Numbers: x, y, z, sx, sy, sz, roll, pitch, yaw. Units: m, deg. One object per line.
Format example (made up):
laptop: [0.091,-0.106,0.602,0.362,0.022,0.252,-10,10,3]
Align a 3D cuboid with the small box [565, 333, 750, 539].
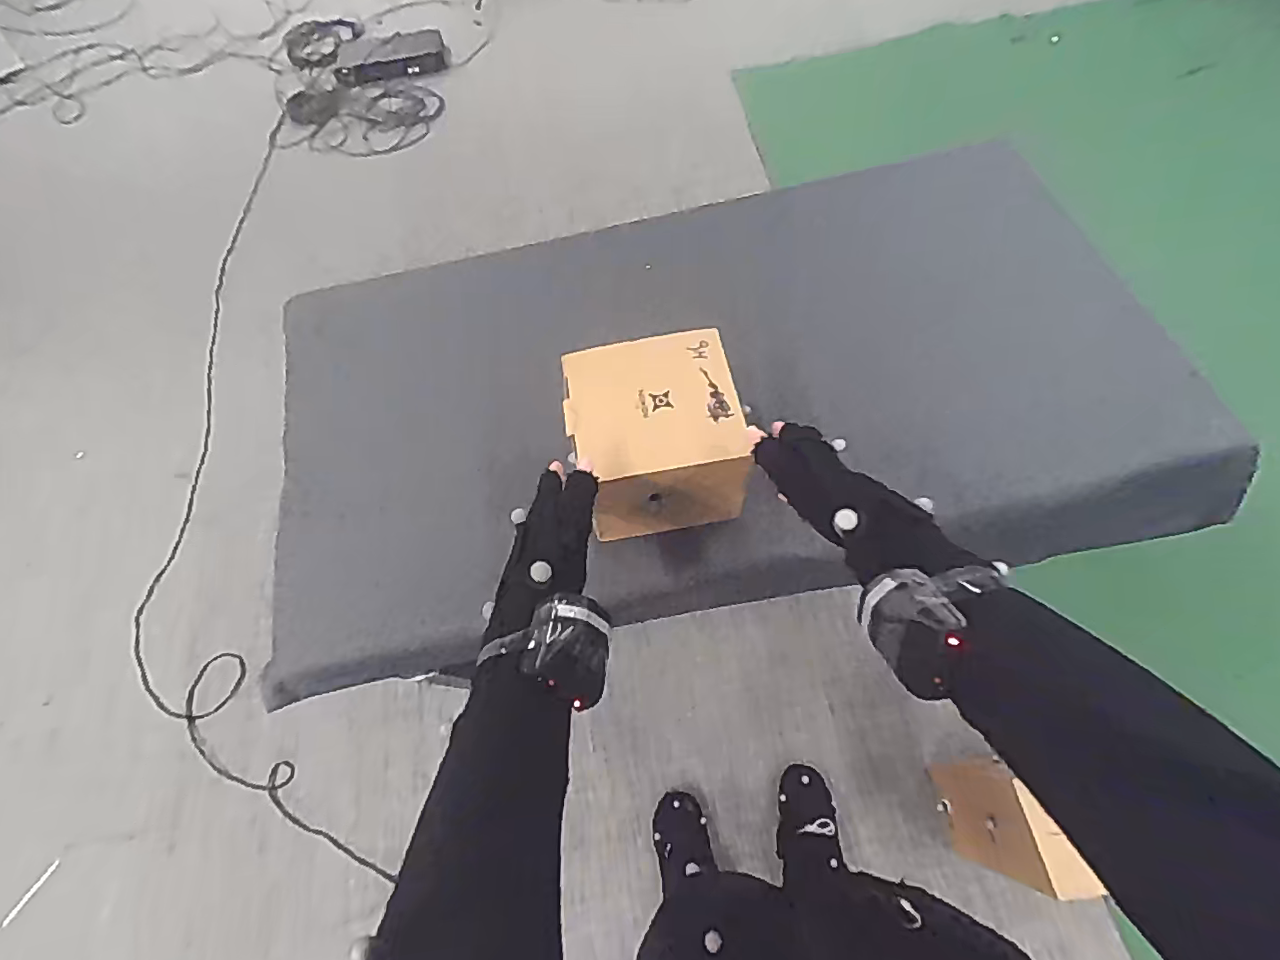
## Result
small box: [0.020,-0.042,0.634,0.179,0.176,0.168,-10,64,0]

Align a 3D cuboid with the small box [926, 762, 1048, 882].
small box: [0.705,0.660,1.063,0.179,0.176,0.168,-10,64,1]
